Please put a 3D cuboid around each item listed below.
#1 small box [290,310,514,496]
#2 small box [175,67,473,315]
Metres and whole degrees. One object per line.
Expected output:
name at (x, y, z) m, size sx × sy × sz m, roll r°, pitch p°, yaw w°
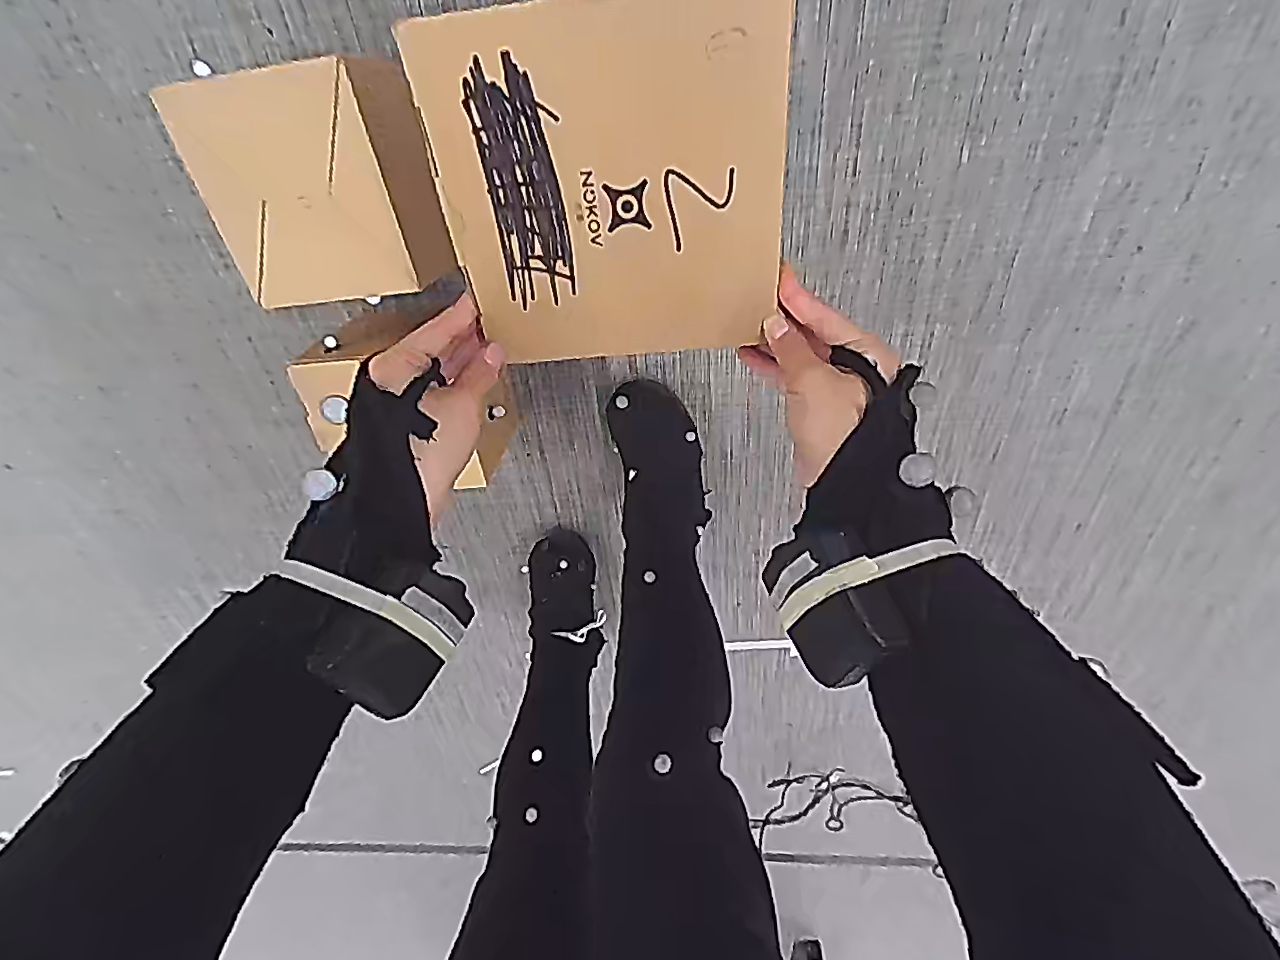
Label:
small box at (-0.262, -0.098, 0.653) m, size 0.179 × 0.176 × 0.168 m, roll -3°, pitch 124°, yaw 6°
small box at (-0.287, -0.280, 0.525) m, size 0.168 × 0.176 × 0.179 m, roll -4°, pitch 124°, yaw 6°
